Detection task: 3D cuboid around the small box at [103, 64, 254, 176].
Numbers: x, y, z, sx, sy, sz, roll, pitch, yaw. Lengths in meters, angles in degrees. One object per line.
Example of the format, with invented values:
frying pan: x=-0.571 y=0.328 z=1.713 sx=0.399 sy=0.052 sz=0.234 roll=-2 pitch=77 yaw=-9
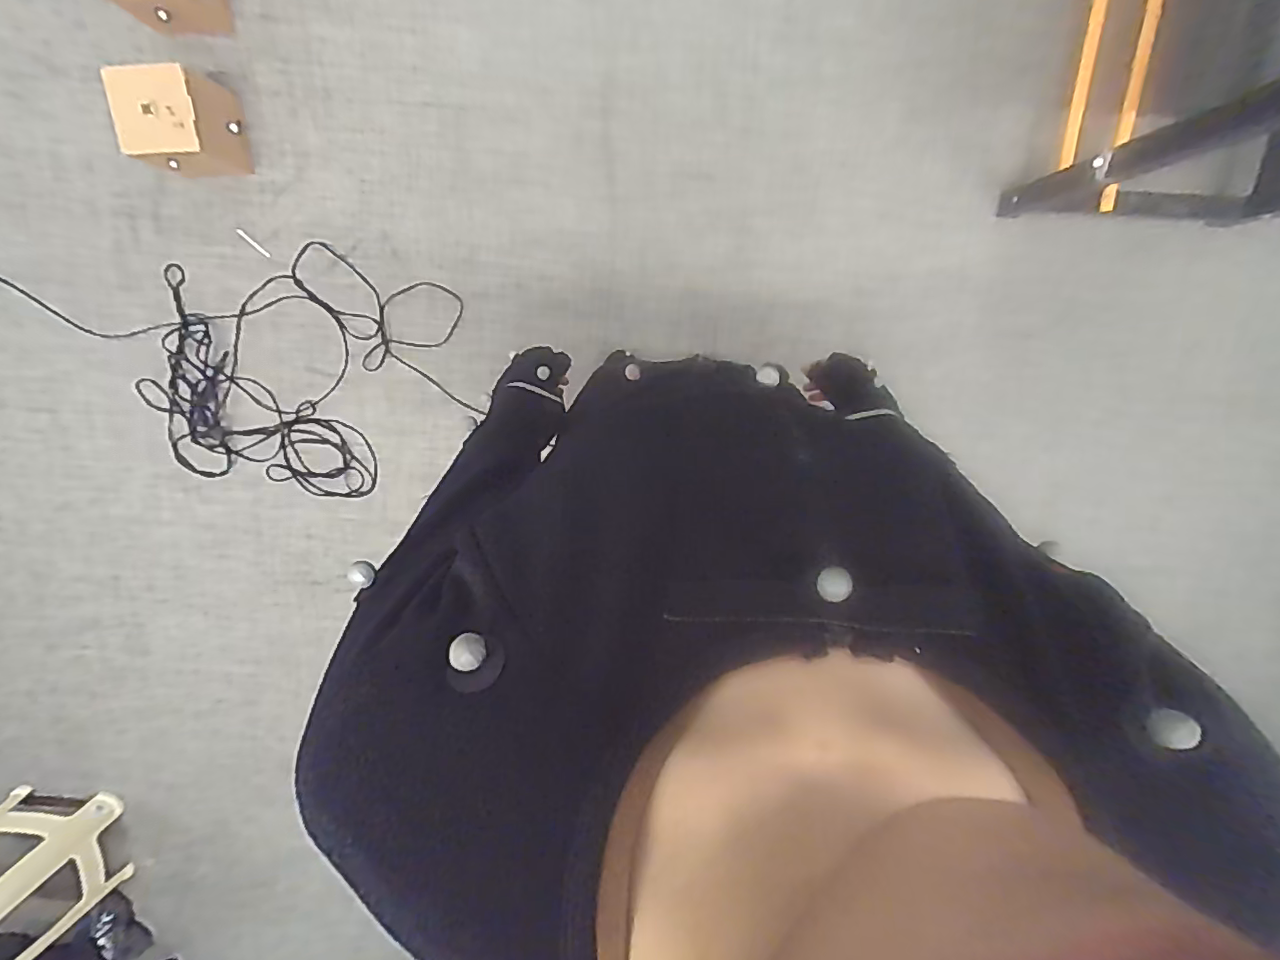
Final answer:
small box: x=-1.023 y=-0.798 z=1.214 sx=0.179 sy=0.176 sz=0.168 roll=-2 pitch=105 yaw=1
